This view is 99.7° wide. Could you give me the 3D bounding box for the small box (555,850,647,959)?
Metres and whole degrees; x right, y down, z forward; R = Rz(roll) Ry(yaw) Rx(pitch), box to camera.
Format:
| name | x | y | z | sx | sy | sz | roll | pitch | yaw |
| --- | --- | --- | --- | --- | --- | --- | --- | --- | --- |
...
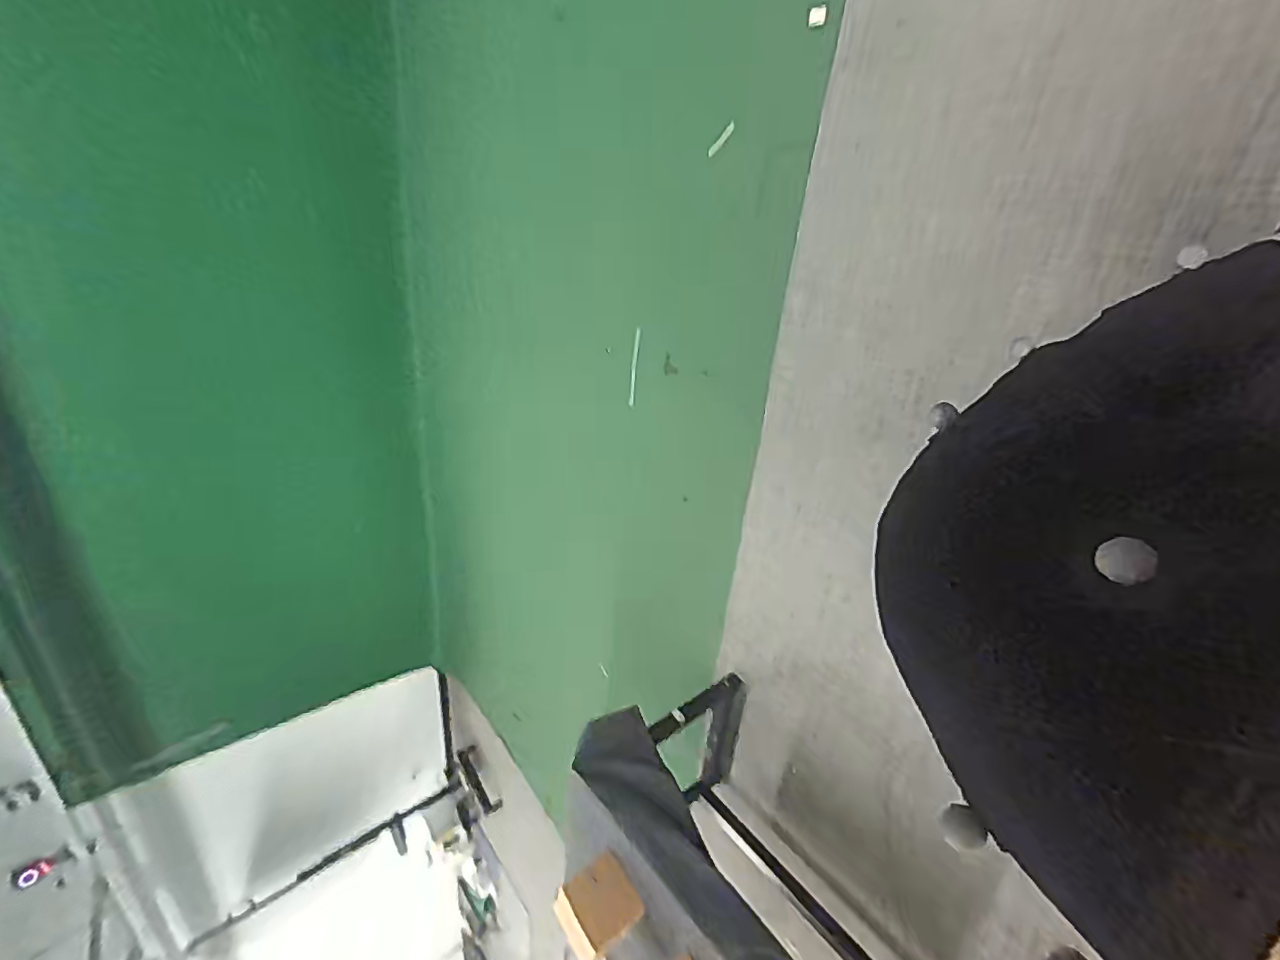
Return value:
| name | x | y | z | sx | sy | sz | roll | pitch | yaw |
| --- | --- | --- | --- | --- | --- | --- | --- | --- | --- |
| small box | -0.109 | 1.162 | 1.487 | 0.179 | 0.176 | 0.168 | 43 | 133 | 33 |
